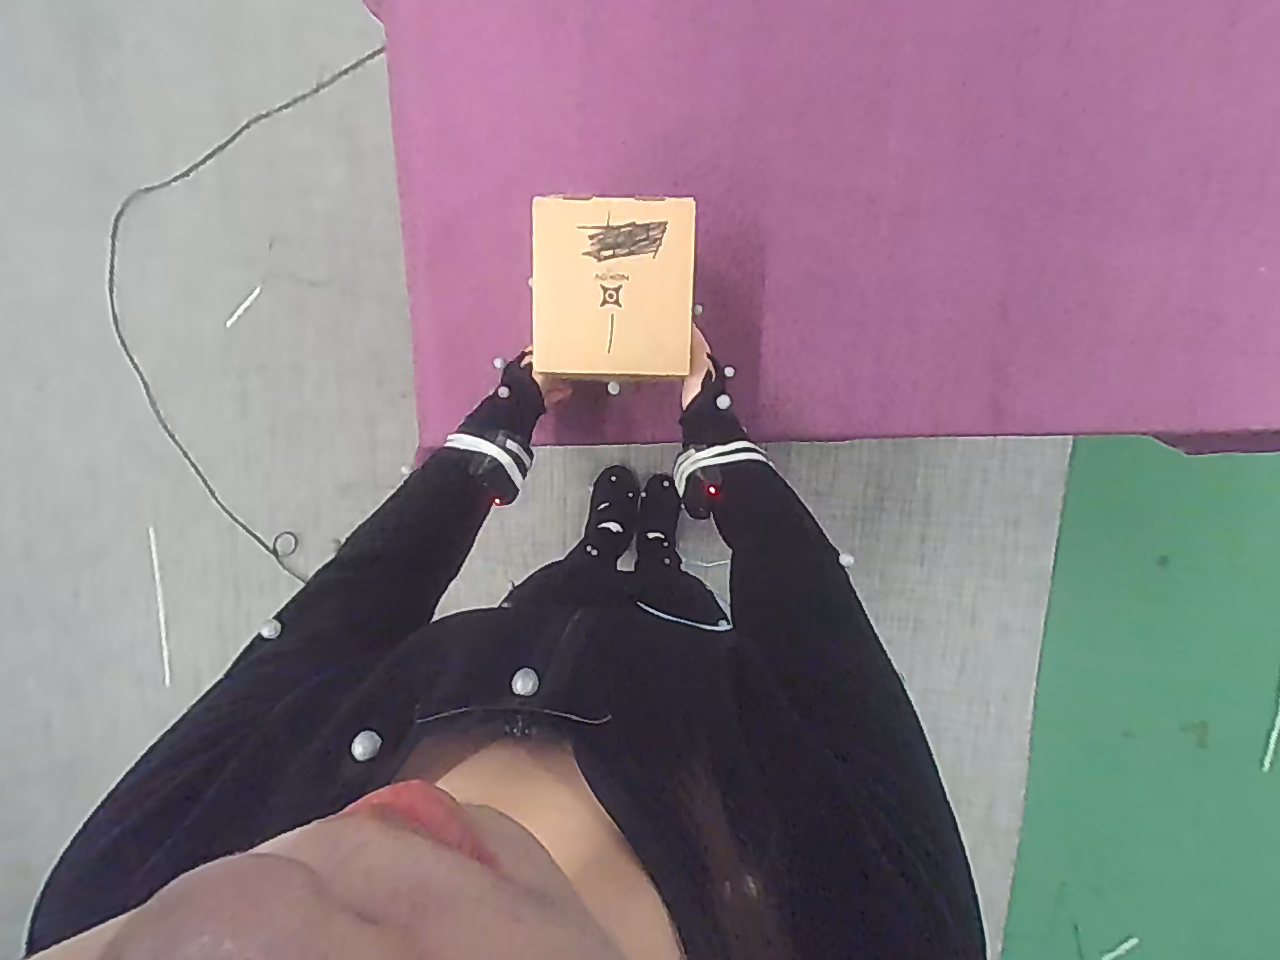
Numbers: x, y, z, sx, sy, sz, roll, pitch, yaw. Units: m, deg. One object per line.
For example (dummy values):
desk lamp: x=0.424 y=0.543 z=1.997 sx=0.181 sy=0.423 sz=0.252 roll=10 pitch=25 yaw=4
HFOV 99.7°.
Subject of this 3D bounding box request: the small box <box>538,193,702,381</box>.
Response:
small box: x=-0.021 y=-0.210 z=0.630 sx=0.168 sy=0.176 sz=0.179 roll=2 pitch=99 yaw=2
